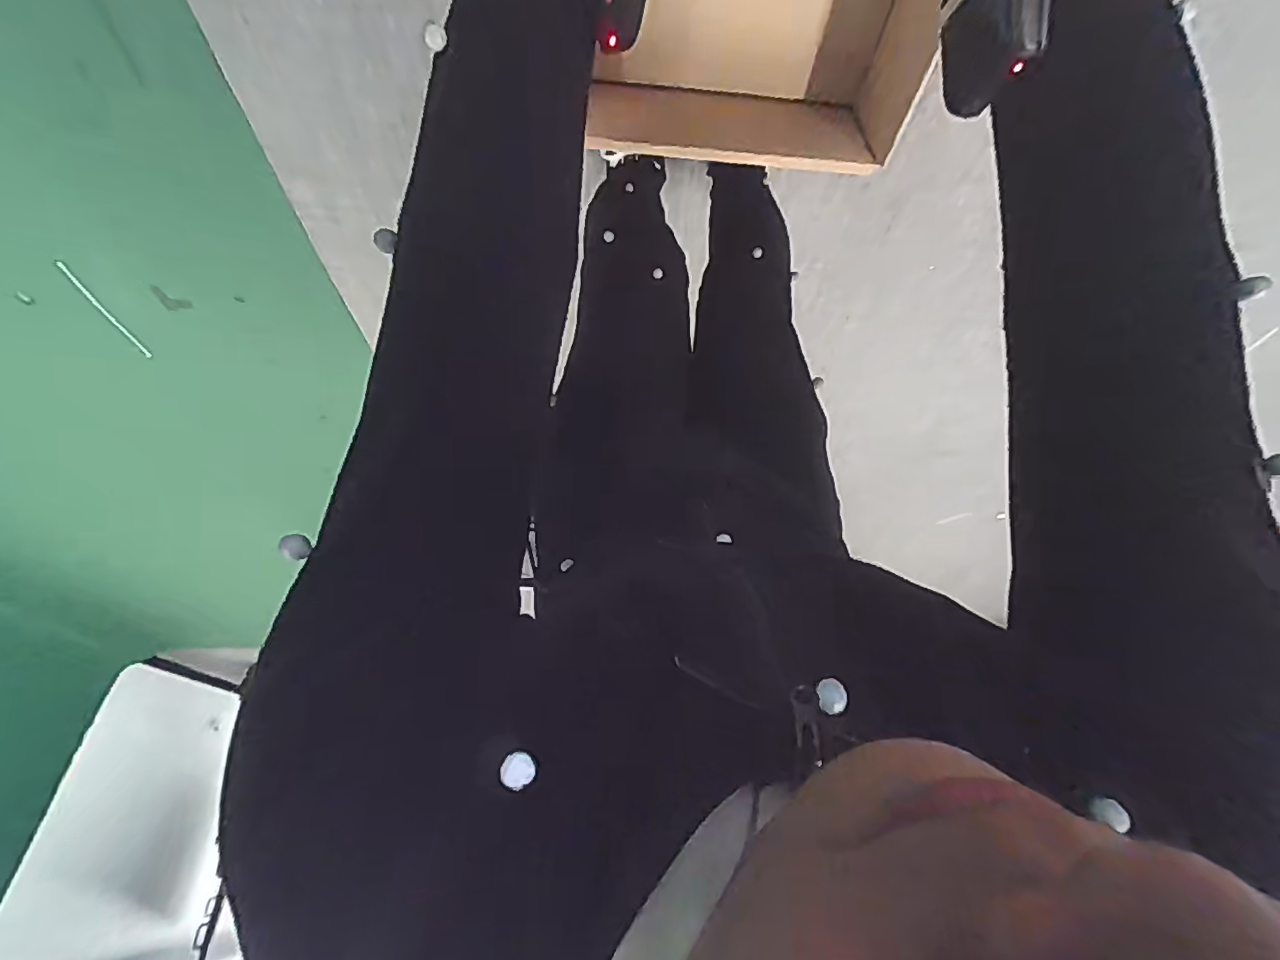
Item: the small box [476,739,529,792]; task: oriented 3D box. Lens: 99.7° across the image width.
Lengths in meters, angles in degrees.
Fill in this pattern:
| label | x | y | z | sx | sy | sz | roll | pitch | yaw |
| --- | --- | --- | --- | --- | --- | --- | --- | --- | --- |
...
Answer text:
| label | x | y | z | sx | sy | sz | roll | pitch | yaw |
| --- | --- | --- | --- | --- | --- | --- | --- | --- | --- |
| small box | -0.504 | 1.061 | 2.007 | 0.179 | 0.176 | 0.168 | 2 | 147 | -7 |
